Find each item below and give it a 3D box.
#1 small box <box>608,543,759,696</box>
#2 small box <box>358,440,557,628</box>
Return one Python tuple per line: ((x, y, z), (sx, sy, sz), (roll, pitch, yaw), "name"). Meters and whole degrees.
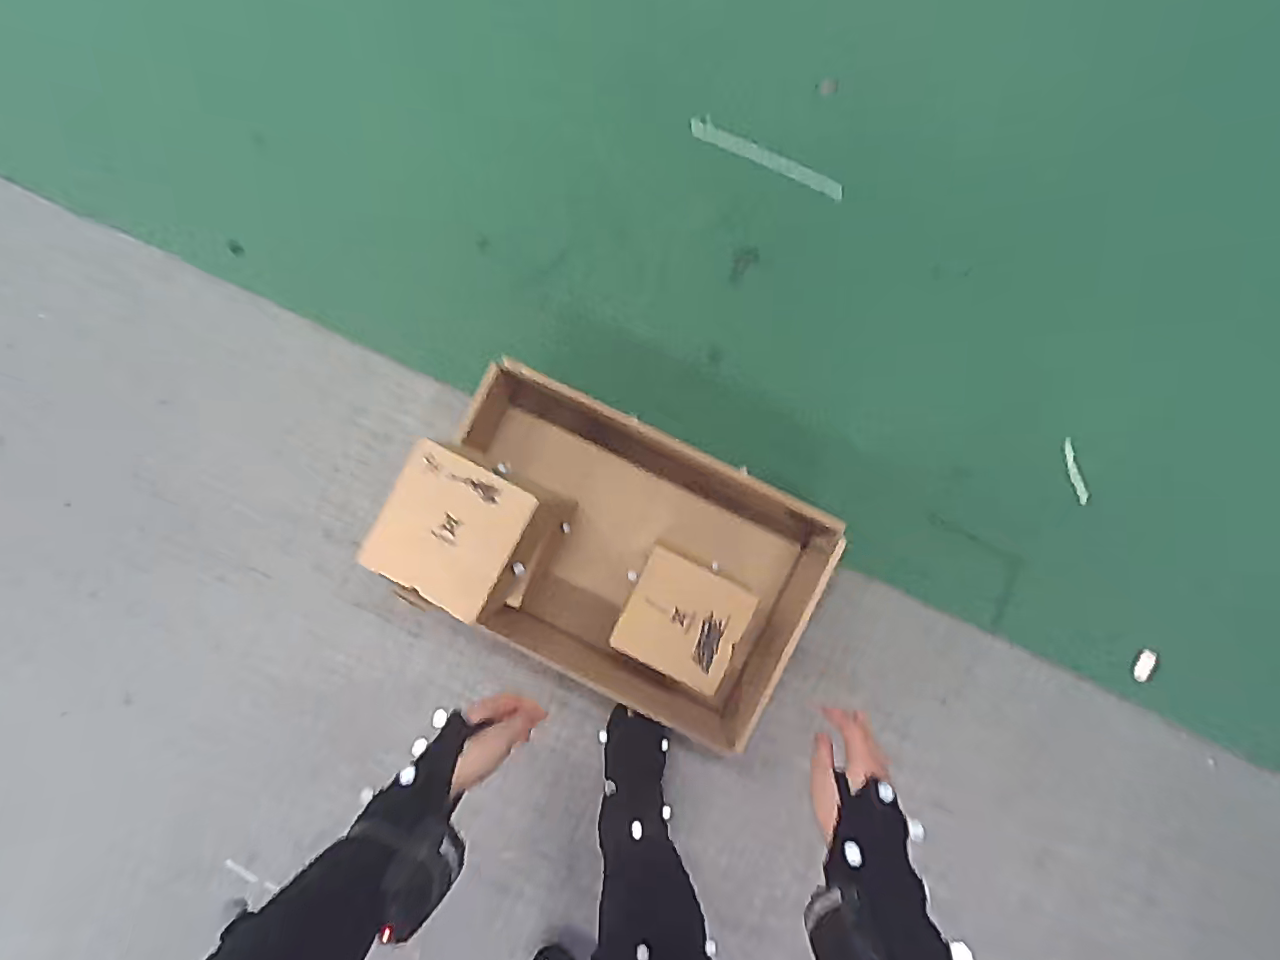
((0.068, 0.213, 0.882), (0.179, 0.176, 0.168), (26, 90, 3), "small box")
((-0.228, 0.066, 0.729), (0.168, 0.176, 0.179), (28, 90, 2), "small box")
